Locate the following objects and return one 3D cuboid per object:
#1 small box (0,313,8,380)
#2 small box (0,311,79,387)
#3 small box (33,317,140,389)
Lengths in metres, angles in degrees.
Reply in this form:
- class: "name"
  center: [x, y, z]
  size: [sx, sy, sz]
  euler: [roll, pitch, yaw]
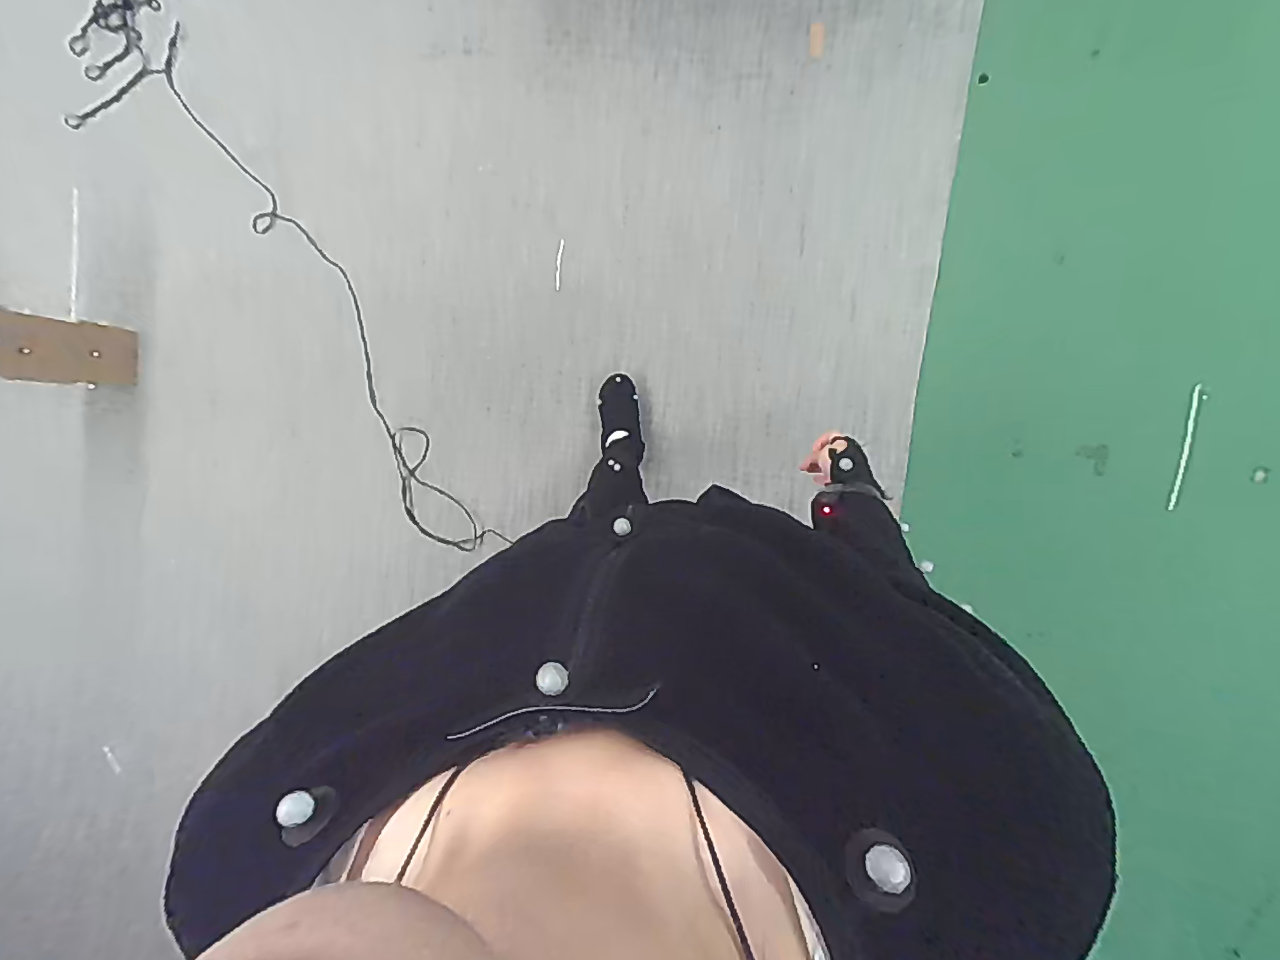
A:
- class: "small box"
  center: [-1.648, -0.338, 1.263]
  size: [0.168, 0.176, 0.179]
  euler: [5, 94, 6]
- class: "small box"
  center: [-1.646, -0.345, 1.427]
  size: [0.168, 0.176, 0.179]
  euler: [7, 94, 5]
- class: "small box"
  center: [-1.626, -0.365, 1.589]
  size: [0.168, 0.176, 0.179]
  euler: [7, 94, 6]
